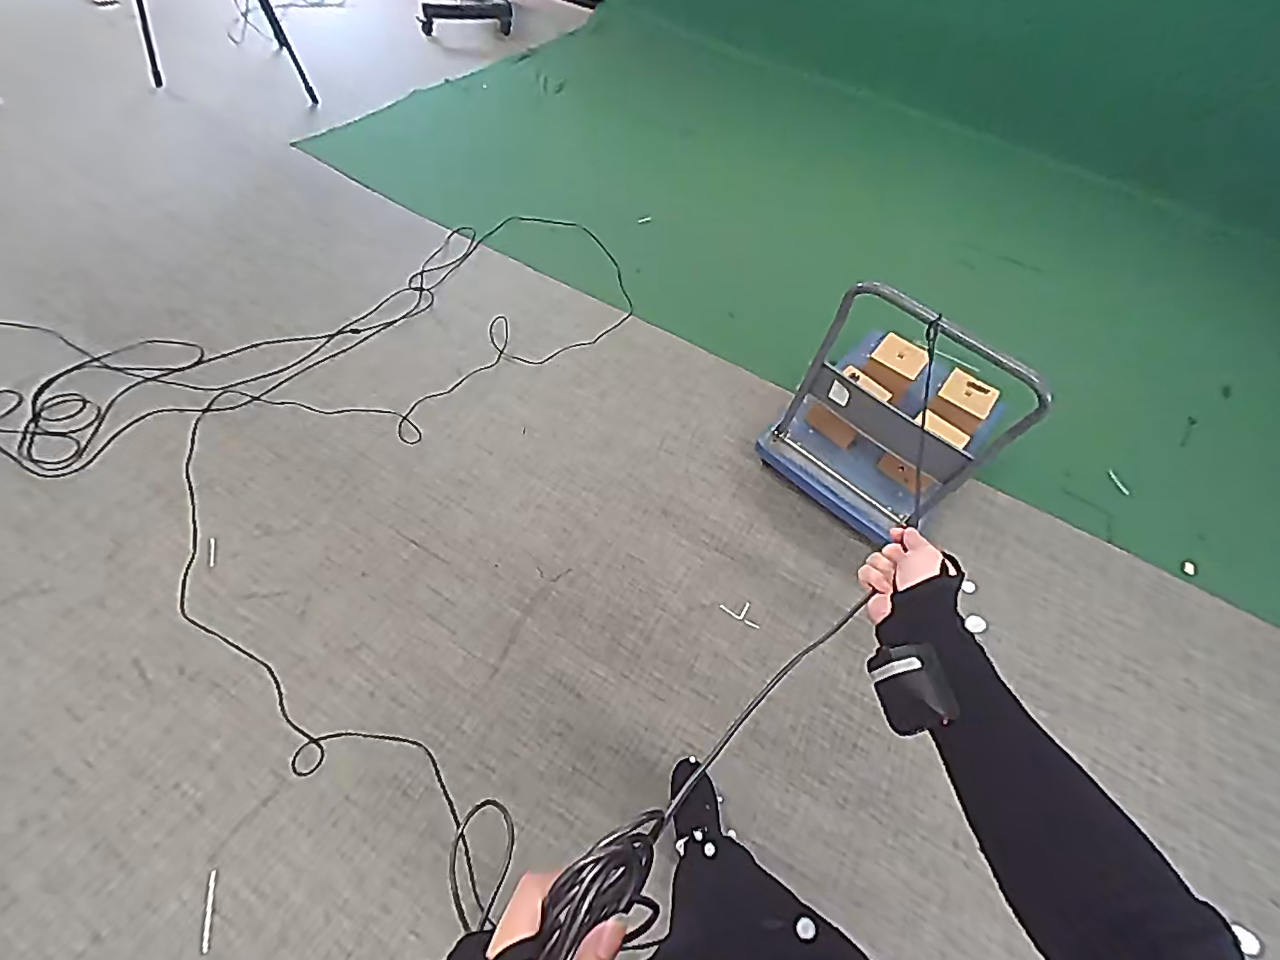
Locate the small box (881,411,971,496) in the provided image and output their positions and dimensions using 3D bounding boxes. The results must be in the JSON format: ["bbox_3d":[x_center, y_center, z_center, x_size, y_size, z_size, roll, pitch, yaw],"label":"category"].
[{"bbox_3d":[0.918,-0.083,1.751,0.168,0.176,0.179,40,61,19],"label":"small box"}]

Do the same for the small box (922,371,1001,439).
[{"bbox_3d":[1.101,-0.239,1.876,0.168,0.176,0.179,36,60,17],"label":"small box"}]

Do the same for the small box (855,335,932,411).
[{"bbox_3d":[0.905,-0.381,1.947,0.168,0.176,0.179,37,60,16],"label":"small box"}]
